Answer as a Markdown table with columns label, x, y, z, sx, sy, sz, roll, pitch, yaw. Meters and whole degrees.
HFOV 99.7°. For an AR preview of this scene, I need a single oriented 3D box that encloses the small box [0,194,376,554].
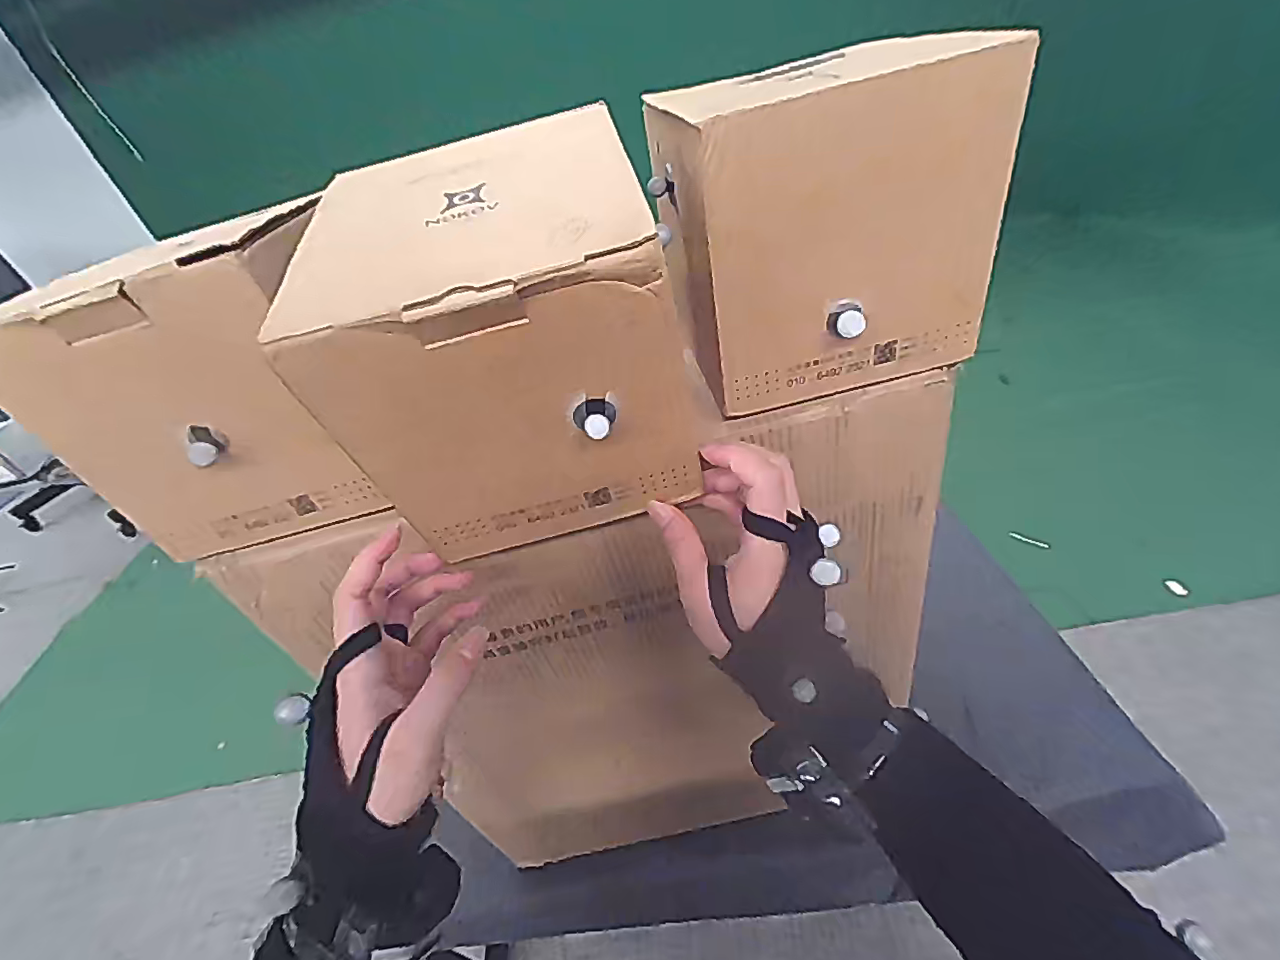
| label | x | y | z | sx | sy | sz | roll | pitch | yaw |
| --- | --- | --- | --- | --- | --- | --- | --- | --- | --- |
| small box | -0.269 | -0.069 | 0.376 | 0.168 | 0.176 | 0.179 | -16 | 38 | 3 |

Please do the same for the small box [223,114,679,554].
| label | x | y | z | sx | sy | sz | roll | pitch | yaw |
| --- | --- | --- | --- | --- | --- | --- | --- | --- | --- |
| small box | -0.080 | -0.075 | 0.318 | 0.168 | 0.176 | 0.179 | -15 | 48 | 1 |

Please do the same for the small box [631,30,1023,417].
| label | x | y | z | sx | sy | sz | roll | pitch | yaw |
| --- | --- | --- | --- | --- | --- | --- | --- | --- | --- |
| small box | 0.097 | -0.166 | 0.356 | 0.168 | 0.176 | 0.179 | -14 | 39 | 2 |
